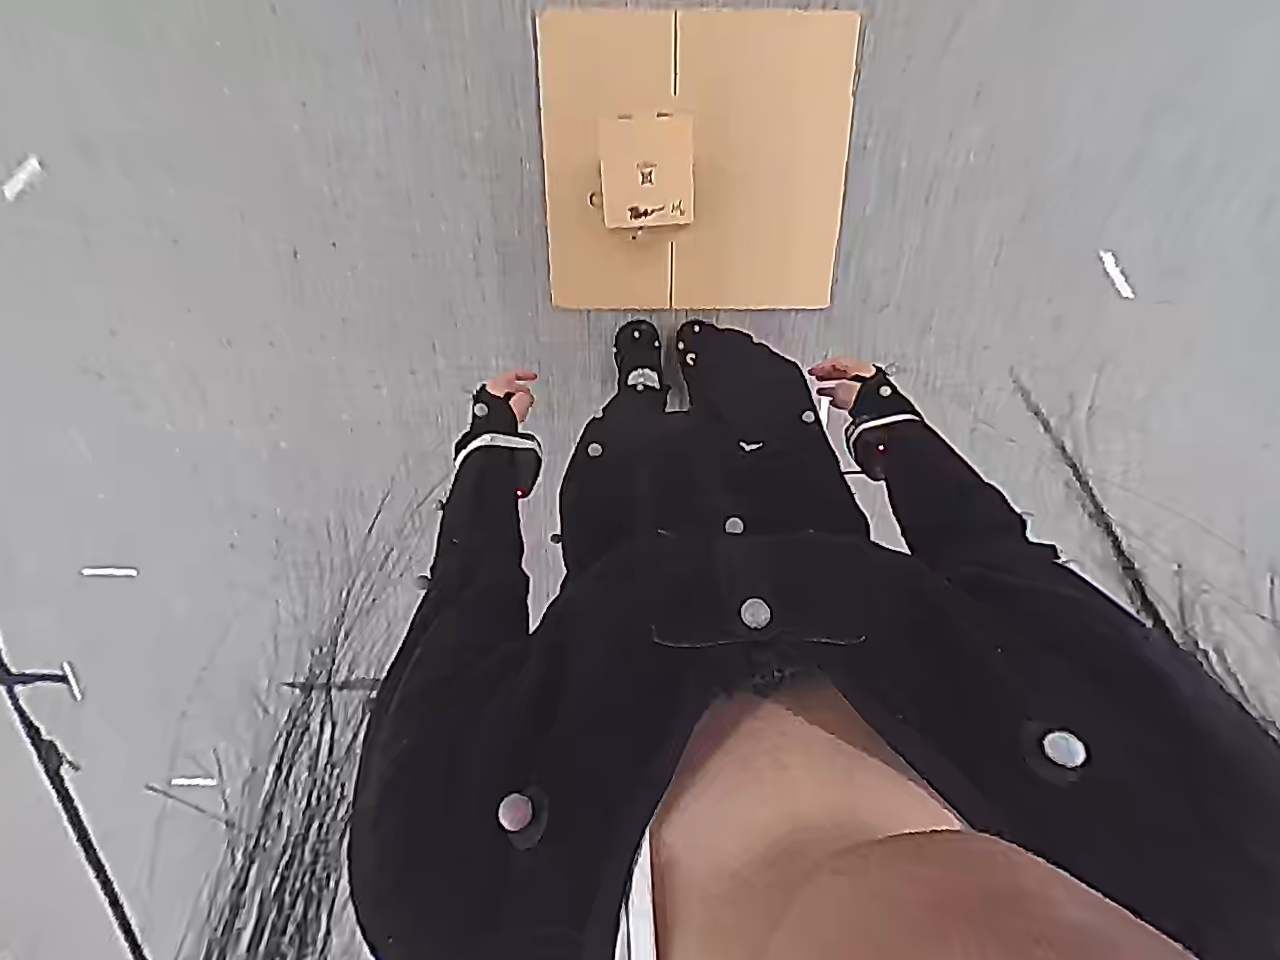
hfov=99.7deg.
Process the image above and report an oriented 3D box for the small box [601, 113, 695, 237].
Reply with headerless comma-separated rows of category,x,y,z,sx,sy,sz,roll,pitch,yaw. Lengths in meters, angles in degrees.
small box,0.013,-0.571,1.031,0.168,0.176,0.179,-4,110,0
